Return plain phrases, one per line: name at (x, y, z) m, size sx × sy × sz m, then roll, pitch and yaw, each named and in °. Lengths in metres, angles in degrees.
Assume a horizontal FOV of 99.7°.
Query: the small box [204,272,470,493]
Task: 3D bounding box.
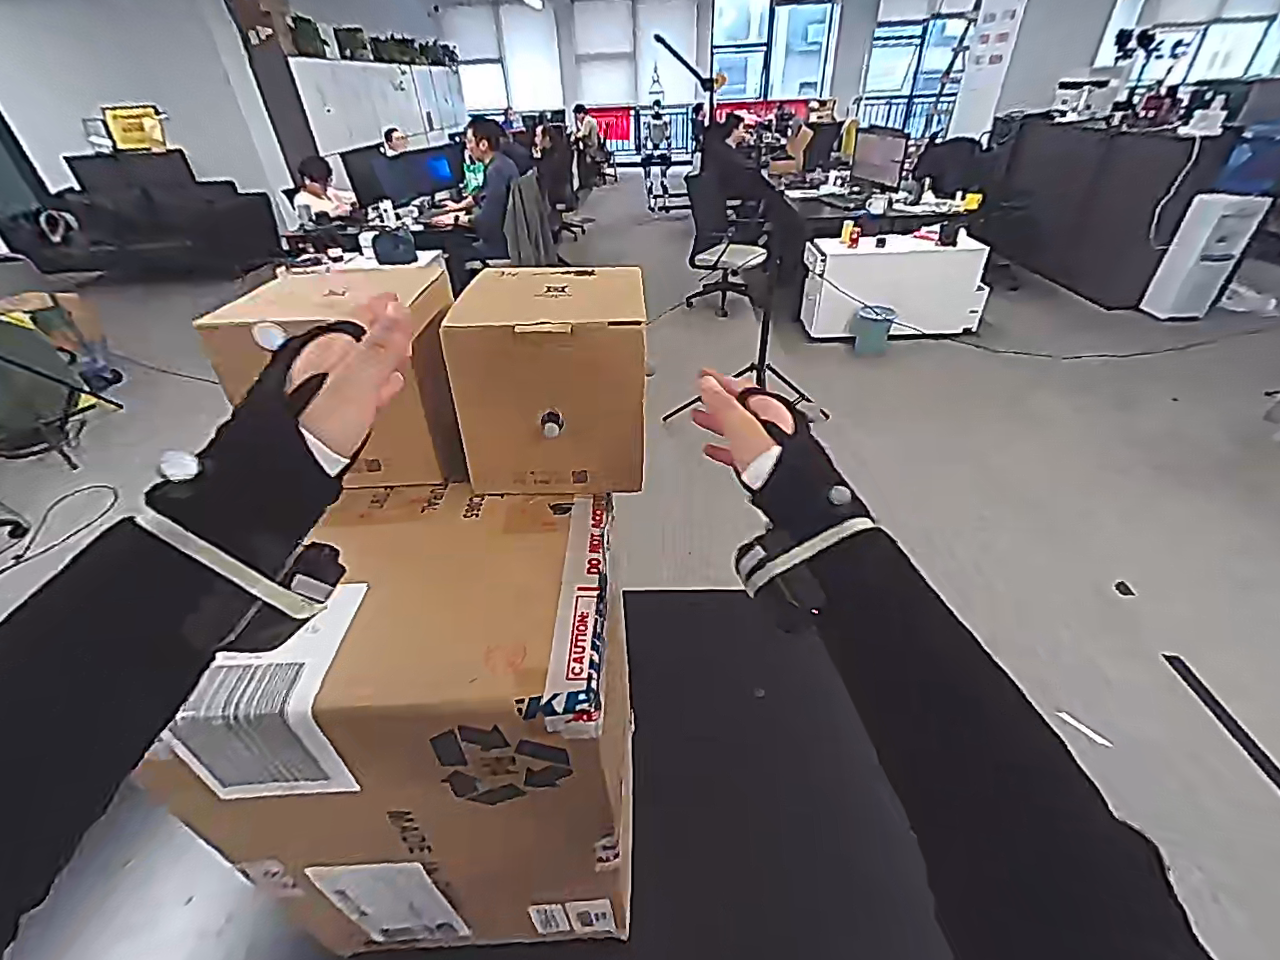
small box at (-0.281, -0.105, 0.556) m, size 0.168 × 0.176 × 0.179 m, roll -4°, pitch 35°, yaw -4°
